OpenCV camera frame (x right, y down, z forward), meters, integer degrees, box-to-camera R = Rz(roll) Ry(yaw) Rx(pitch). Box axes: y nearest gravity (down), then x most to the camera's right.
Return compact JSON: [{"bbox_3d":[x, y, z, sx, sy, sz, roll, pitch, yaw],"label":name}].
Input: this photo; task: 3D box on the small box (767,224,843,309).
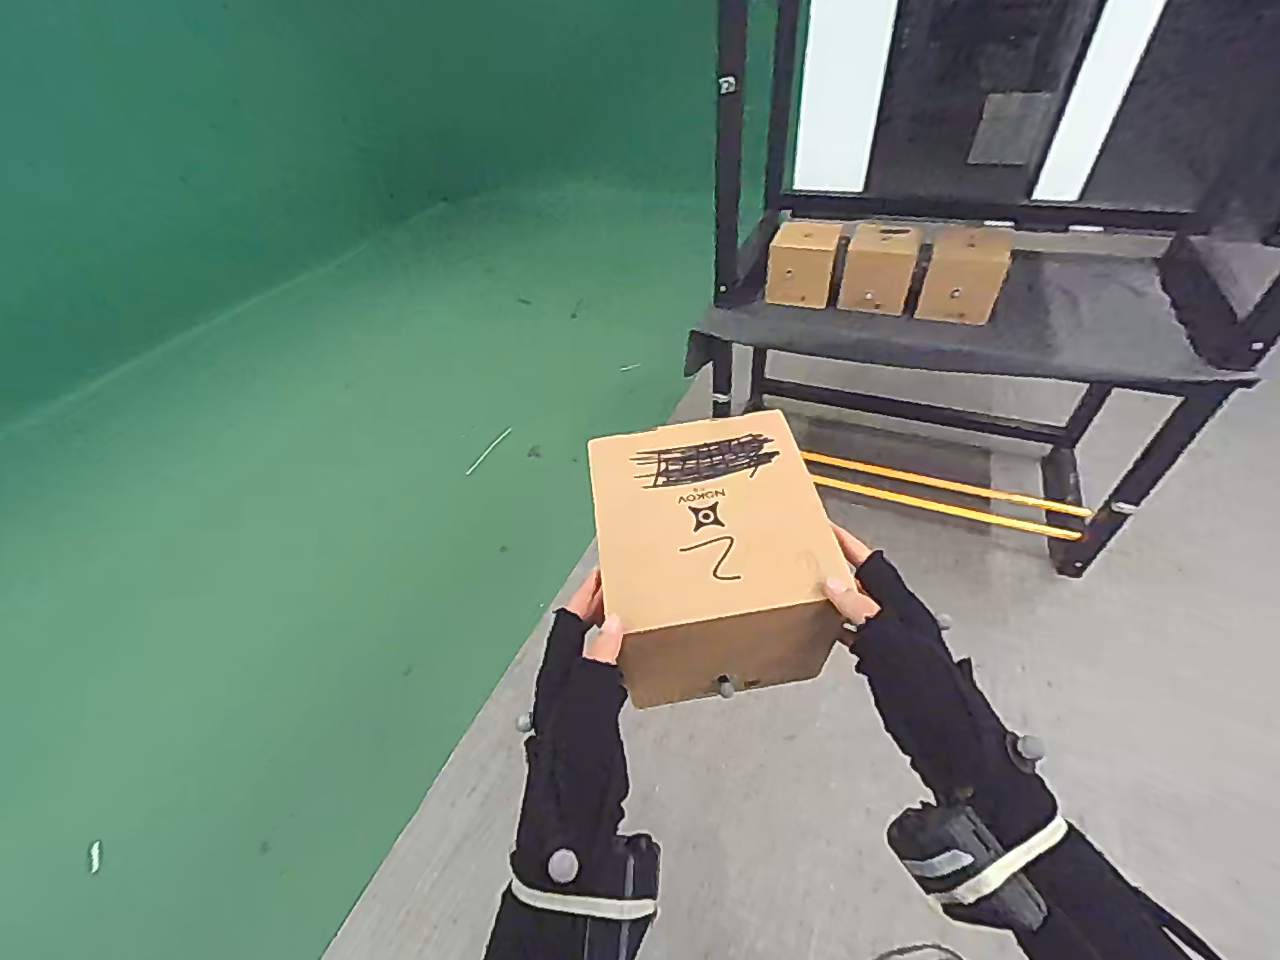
[{"bbox_3d":[0.458,-0.597,1.513,0.168,0.176,0.179,13,47,19],"label":"small box"}]
